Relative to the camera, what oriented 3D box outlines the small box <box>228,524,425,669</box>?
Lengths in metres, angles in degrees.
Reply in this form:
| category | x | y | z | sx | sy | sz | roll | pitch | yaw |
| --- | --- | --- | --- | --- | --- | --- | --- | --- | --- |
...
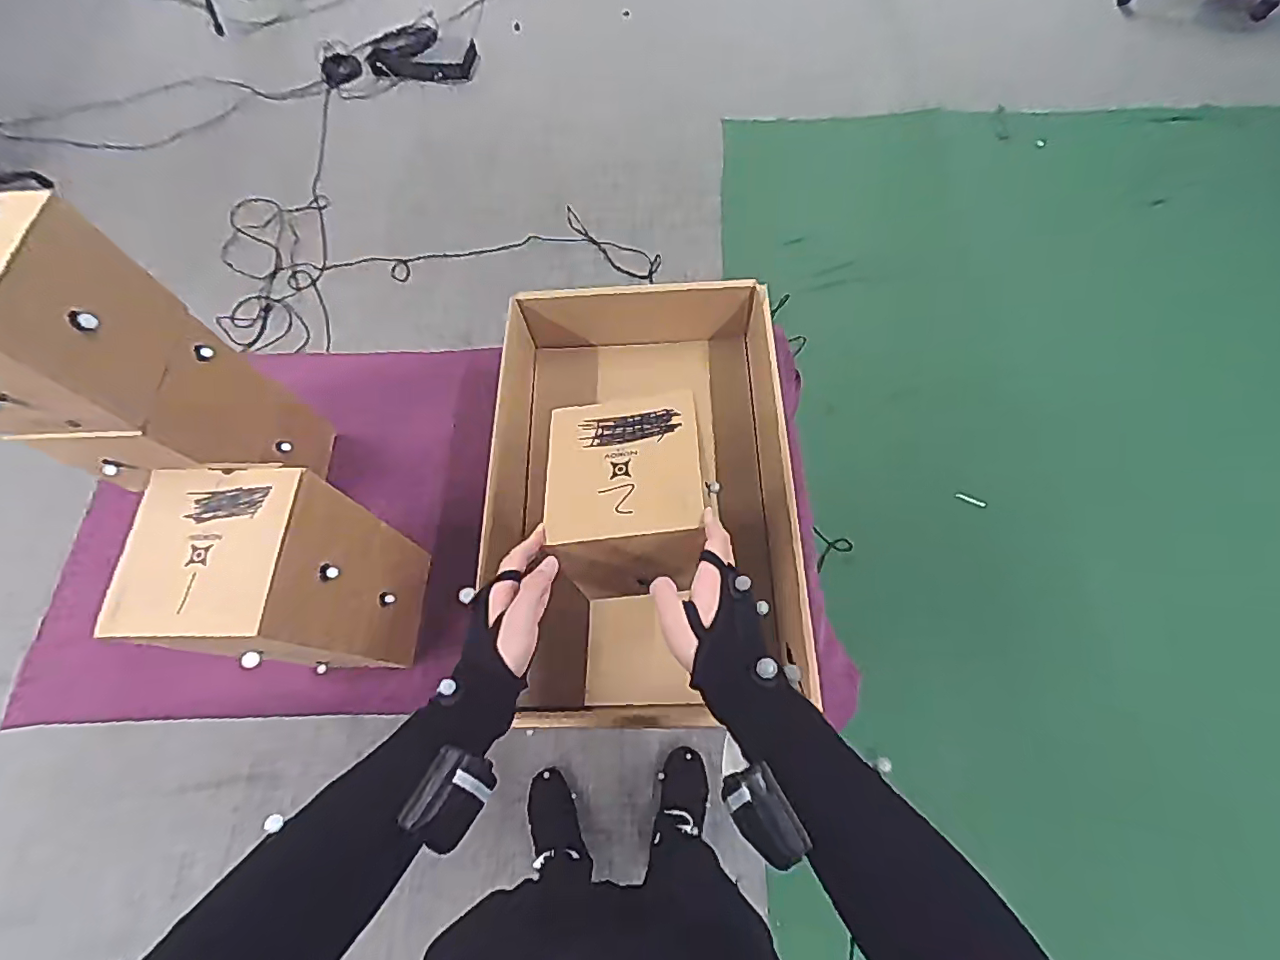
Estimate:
| category | x | y | z | sx | sy | sz | roll | pitch | yaw |
| --- | --- | --- | --- | --- | --- | --- | --- | --- | --- |
| small box | -0.424 | 0.170 | 0.764 | 0.168 | 0.176 | 0.179 | 0 | 66 | 2 |

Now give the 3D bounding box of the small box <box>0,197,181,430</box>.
| category | x | y | z | sx | sy | sz | roll | pitch | yaw |
| --- | --- | --- | --- | --- | --- | --- | --- | --- | --- |
| small box | -0.640 | -0.160 | 0.566 | 0.168 | 0.176 | 0.179 | -2 | 67 | 1 |

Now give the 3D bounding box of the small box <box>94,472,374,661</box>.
| category | x | y | z | sx | sy | sz | roll | pitch | yaw |
| --- | --- | --- | --- | --- | --- | --- | --- | --- | --- |
| small box | -0.431 | 0.104 | 0.614 | 0.168 | 0.176 | 0.179 | 0 | 66 | 3 |

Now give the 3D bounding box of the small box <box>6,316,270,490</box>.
| category | x | y | z | sx | sy | sz | roll | pitch | yaw |
| --- | --- | --- | --- | --- | --- | --- | --- | --- | --- |
| small box | -0.634 | -0.091 | 0.715 | 0.168 | 0.176 | 0.179 | -1 | 66 | 2 |

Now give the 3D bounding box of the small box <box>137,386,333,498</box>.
| category | x | y | z | sx | sy | sz | roll | pitch | yaw |
| --- | --- | --- | --- | --- | --- | --- | --- | --- | --- |
| small box | -0.626 | -0.031 | 0.865 | 0.168 | 0.176 | 0.179 | -1 | 67 | 2 |
